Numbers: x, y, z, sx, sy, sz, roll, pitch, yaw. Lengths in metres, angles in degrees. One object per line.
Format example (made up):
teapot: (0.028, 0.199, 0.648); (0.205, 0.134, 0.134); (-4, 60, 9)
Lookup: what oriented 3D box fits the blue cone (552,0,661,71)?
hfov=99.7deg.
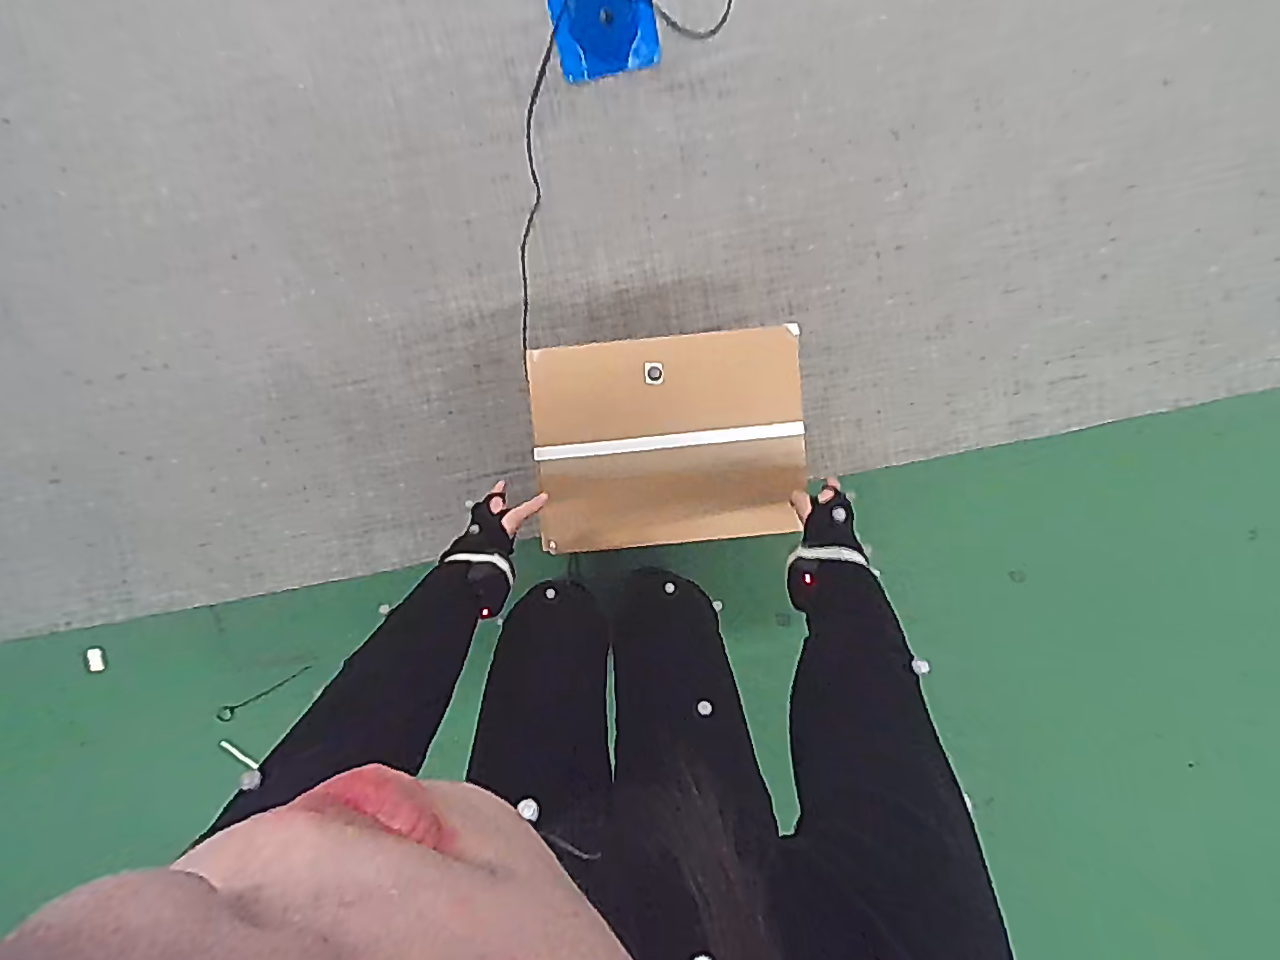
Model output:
blue cone: (-0.069, -0.885, 0.876); (0.193, 0.380, 0.192); (-14, 93, 2)
